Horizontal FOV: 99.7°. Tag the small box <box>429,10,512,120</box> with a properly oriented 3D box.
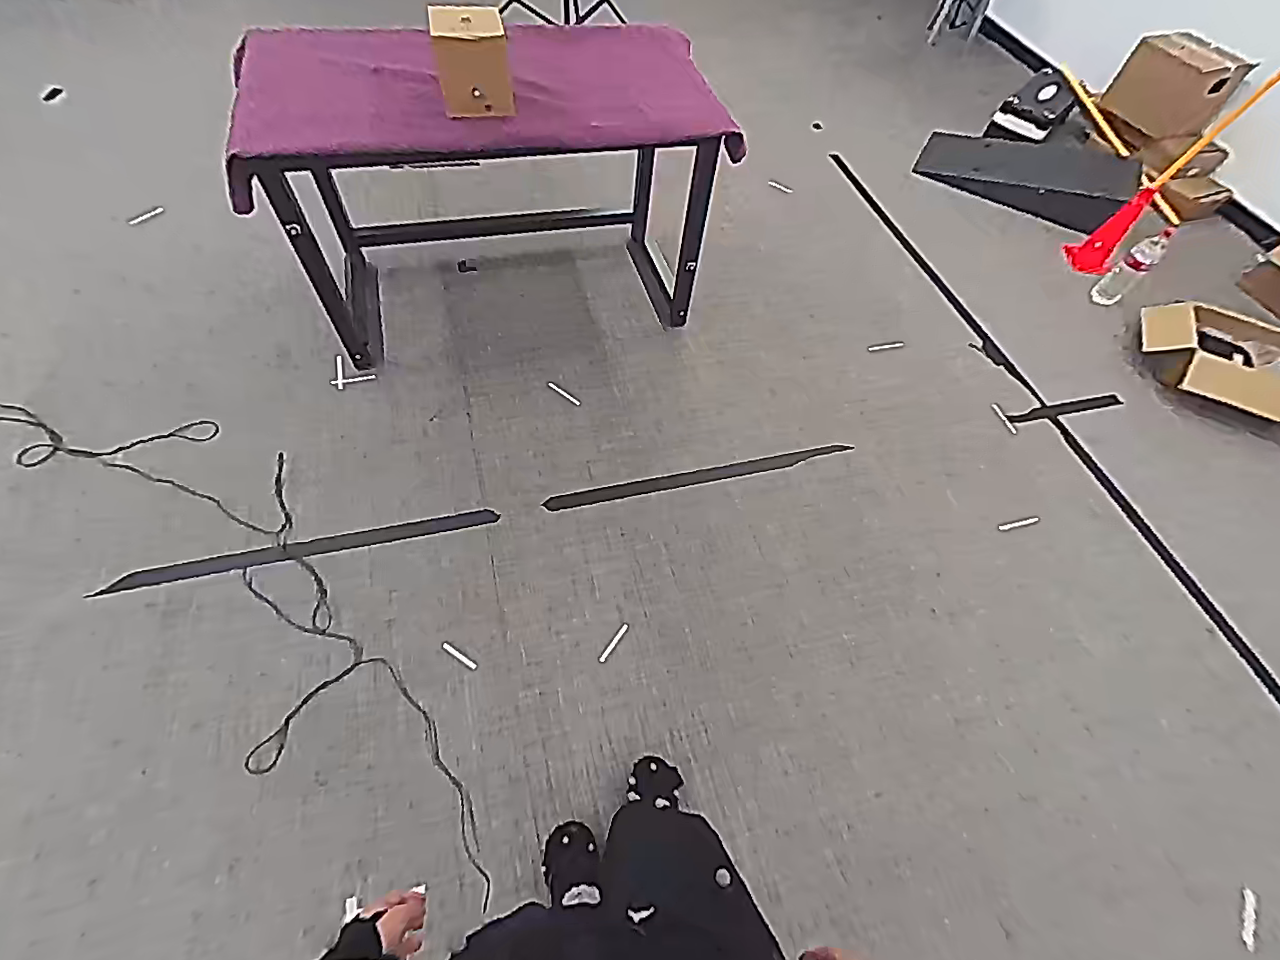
[{"bbox_3d":[-0.414,-1.017,1.330,0.168,0.176,0.179,-9,59,-11],"label":"small box"}]
